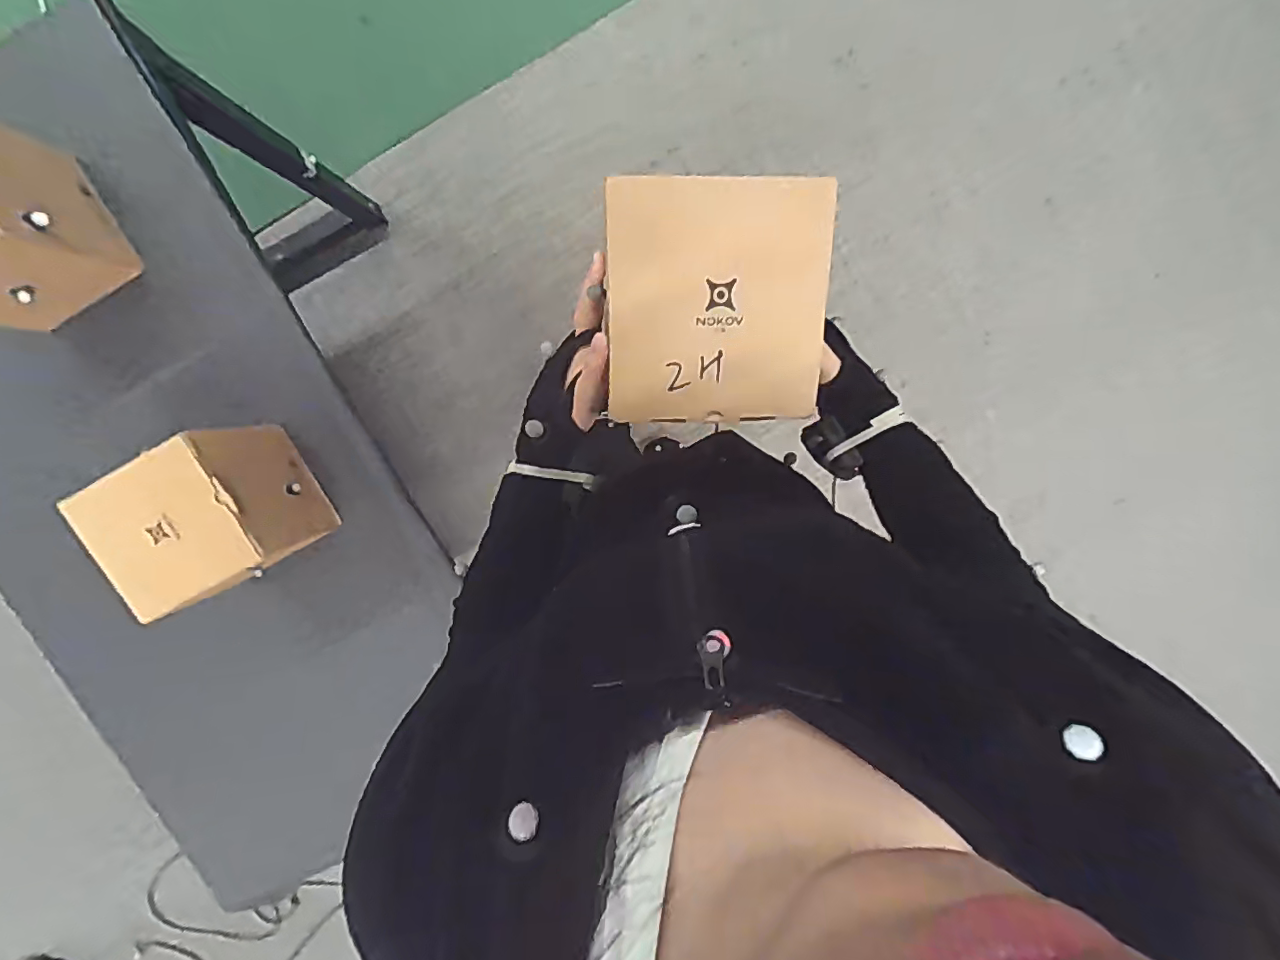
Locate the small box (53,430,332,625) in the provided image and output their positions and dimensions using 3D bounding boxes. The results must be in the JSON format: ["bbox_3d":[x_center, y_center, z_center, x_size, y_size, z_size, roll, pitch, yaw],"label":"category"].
[{"bbox_3d":[-0.545,0.049,0.687,0.179,0.176,0.168,-29,97,4],"label":"small box"}]

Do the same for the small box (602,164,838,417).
[{"bbox_3d":[0.051,-0.156,0.474,0.168,0.176,0.179,-1,108,-4],"label":"small box"}]
